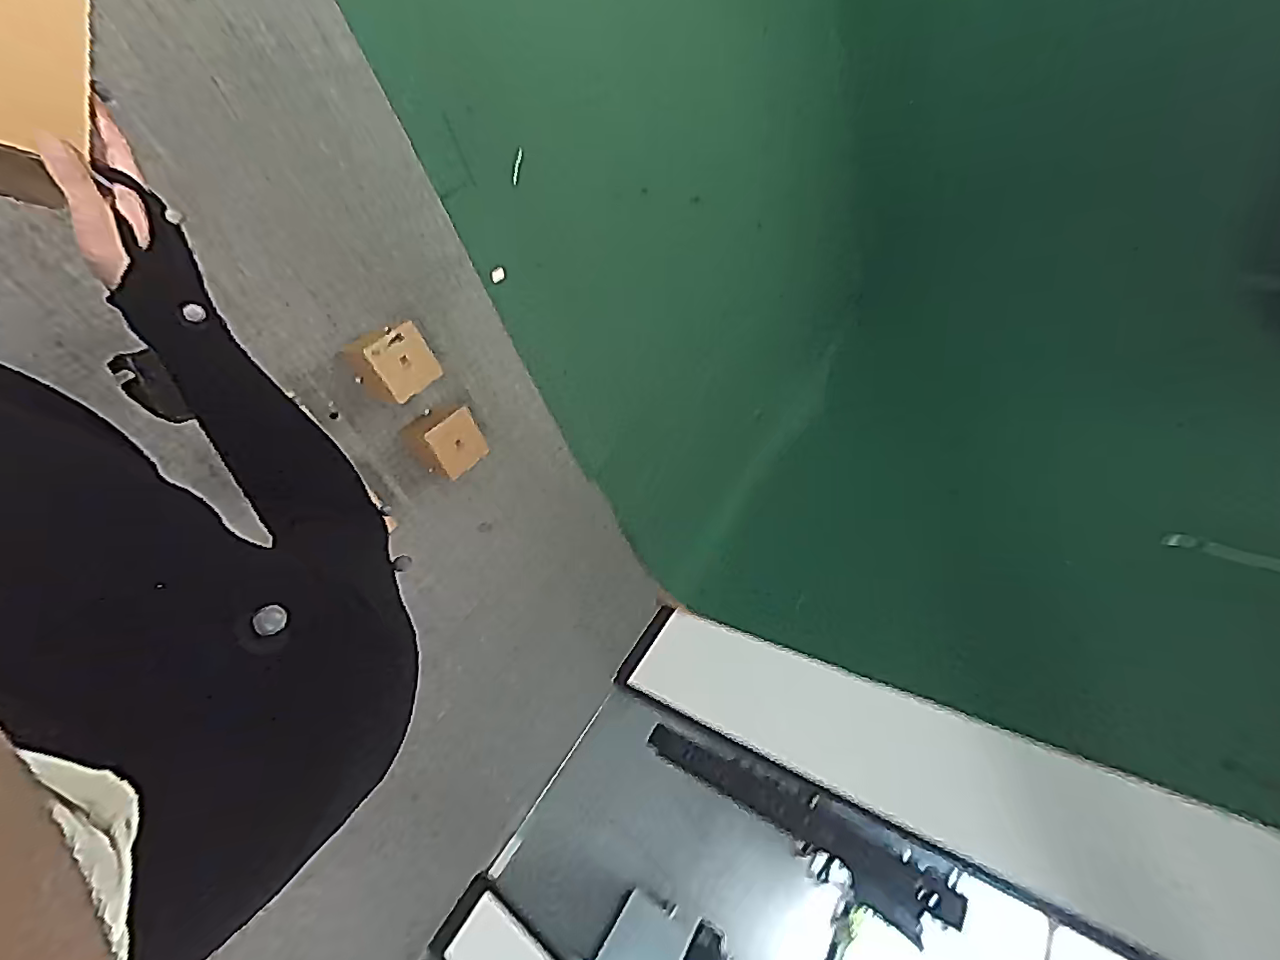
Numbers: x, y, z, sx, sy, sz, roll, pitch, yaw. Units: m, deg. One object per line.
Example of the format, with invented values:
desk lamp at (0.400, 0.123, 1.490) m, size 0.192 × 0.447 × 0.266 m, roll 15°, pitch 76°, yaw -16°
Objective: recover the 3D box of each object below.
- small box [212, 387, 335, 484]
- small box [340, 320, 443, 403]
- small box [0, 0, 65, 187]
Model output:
small box at (-0.918, -0.119, 1.357) m, size 0.168 × 0.176 × 0.179 m, roll -47°, pitch 131°, yaw -32°
small box at (-0.709, -0.341, 1.544) m, size 0.168 × 0.176 × 0.179 m, roll -48°, pitch 133°, yaw -31°
small box at (-0.553, -0.347, 0.397) m, size 0.168 × 0.176 × 0.179 m, roll -3°, pitch 102°, yaw -52°
